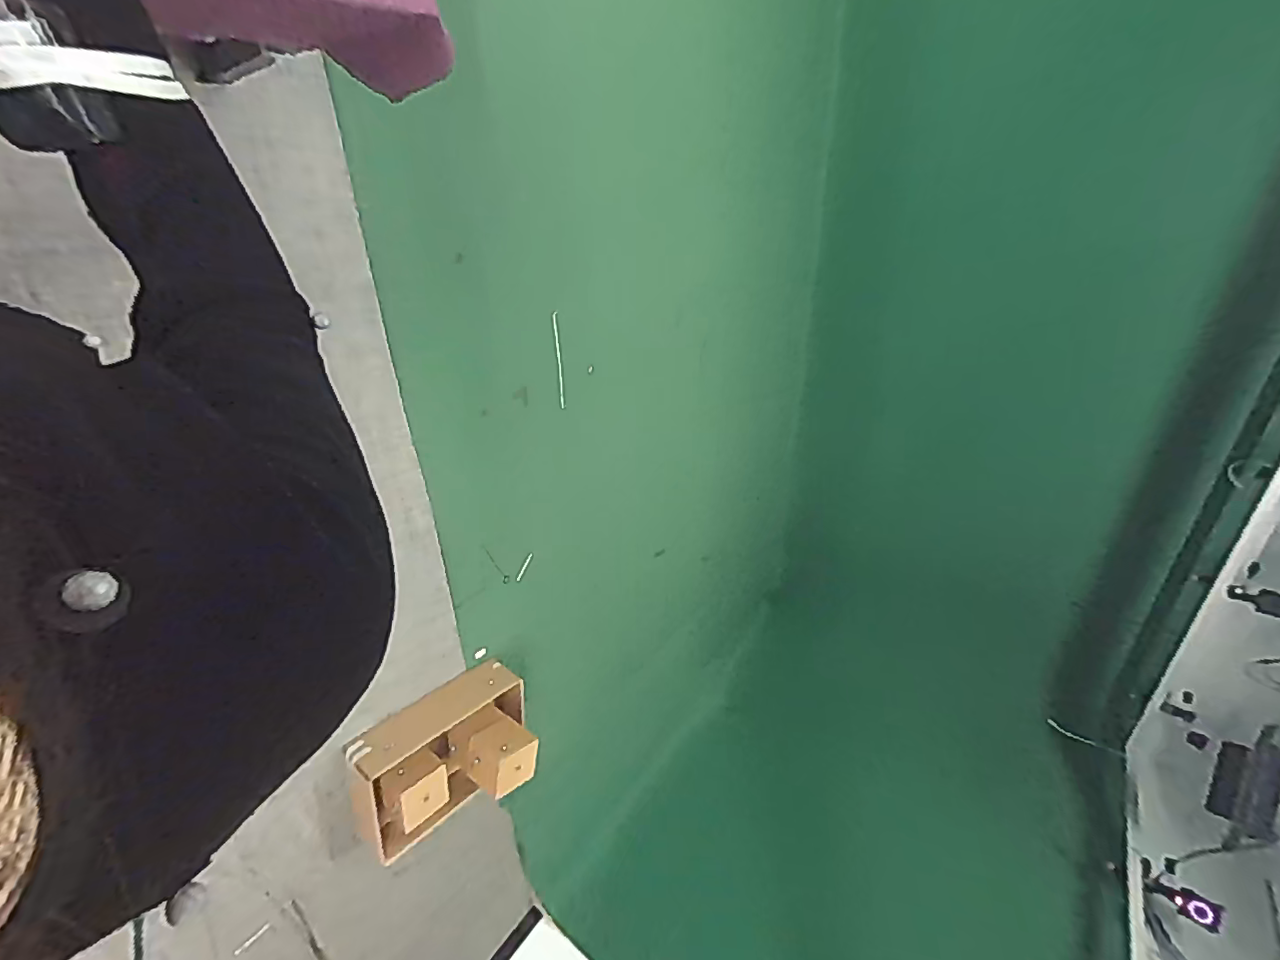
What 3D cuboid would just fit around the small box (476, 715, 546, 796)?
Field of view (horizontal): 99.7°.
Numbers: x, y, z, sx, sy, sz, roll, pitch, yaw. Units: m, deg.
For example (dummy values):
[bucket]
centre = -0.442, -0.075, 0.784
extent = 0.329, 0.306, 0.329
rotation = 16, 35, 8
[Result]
[small box]
centre = -0.470, 0.992, 1.968
extent = 0.179, 0.176, 0.168
rotation = -6, 110, -51
